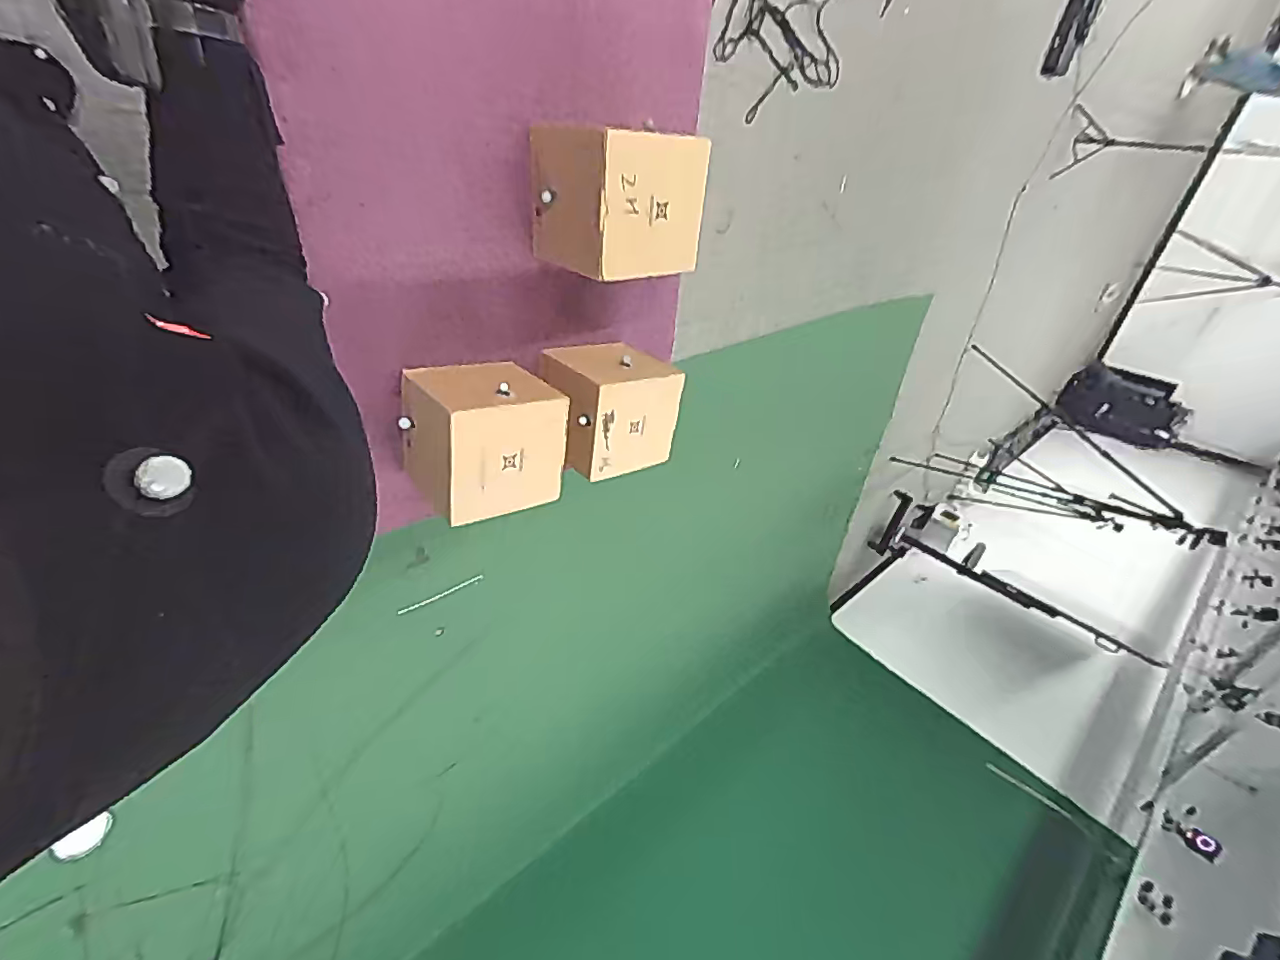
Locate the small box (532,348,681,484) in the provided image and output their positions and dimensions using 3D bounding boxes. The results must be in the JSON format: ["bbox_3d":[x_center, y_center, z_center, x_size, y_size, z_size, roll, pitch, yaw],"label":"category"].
[{"bbox_3d":[-0.061,-0.119,0.920,0.179,0.176,0.168,-17,129,-39],"label":"small box"}]

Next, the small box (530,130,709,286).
[{"bbox_3d":[-0.034,-0.380,0.750,0.179,0.176,0.168,-21,132,-35],"label":"small box"}]
